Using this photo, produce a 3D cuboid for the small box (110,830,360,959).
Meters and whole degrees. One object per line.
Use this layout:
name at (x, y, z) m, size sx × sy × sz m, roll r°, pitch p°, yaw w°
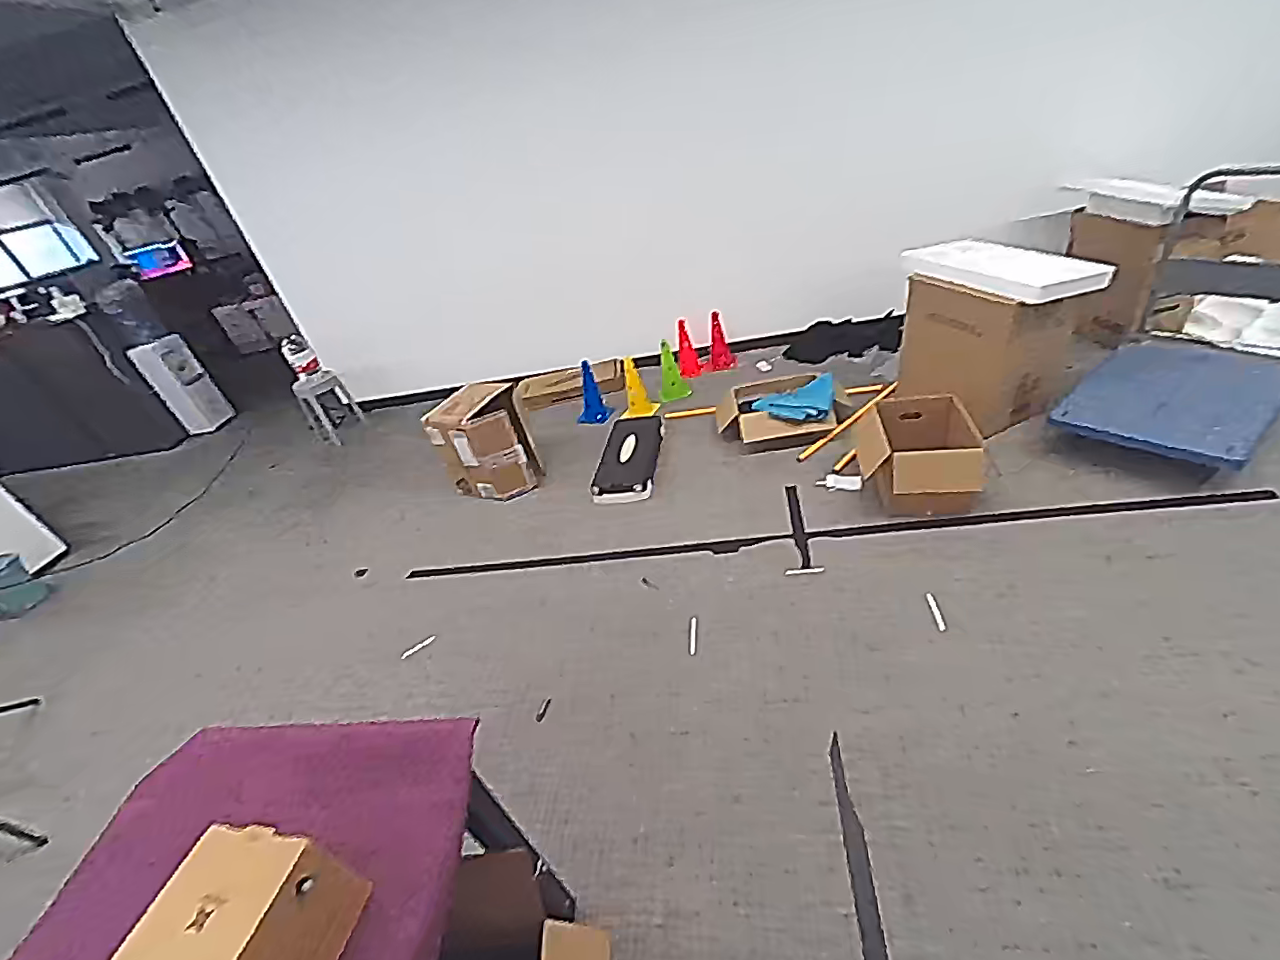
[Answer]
small box at (-0.488, 0.569, 0.664) m, size 0.168 × 0.176 × 0.179 m, roll -4°, pitch 35°, yaw 15°
